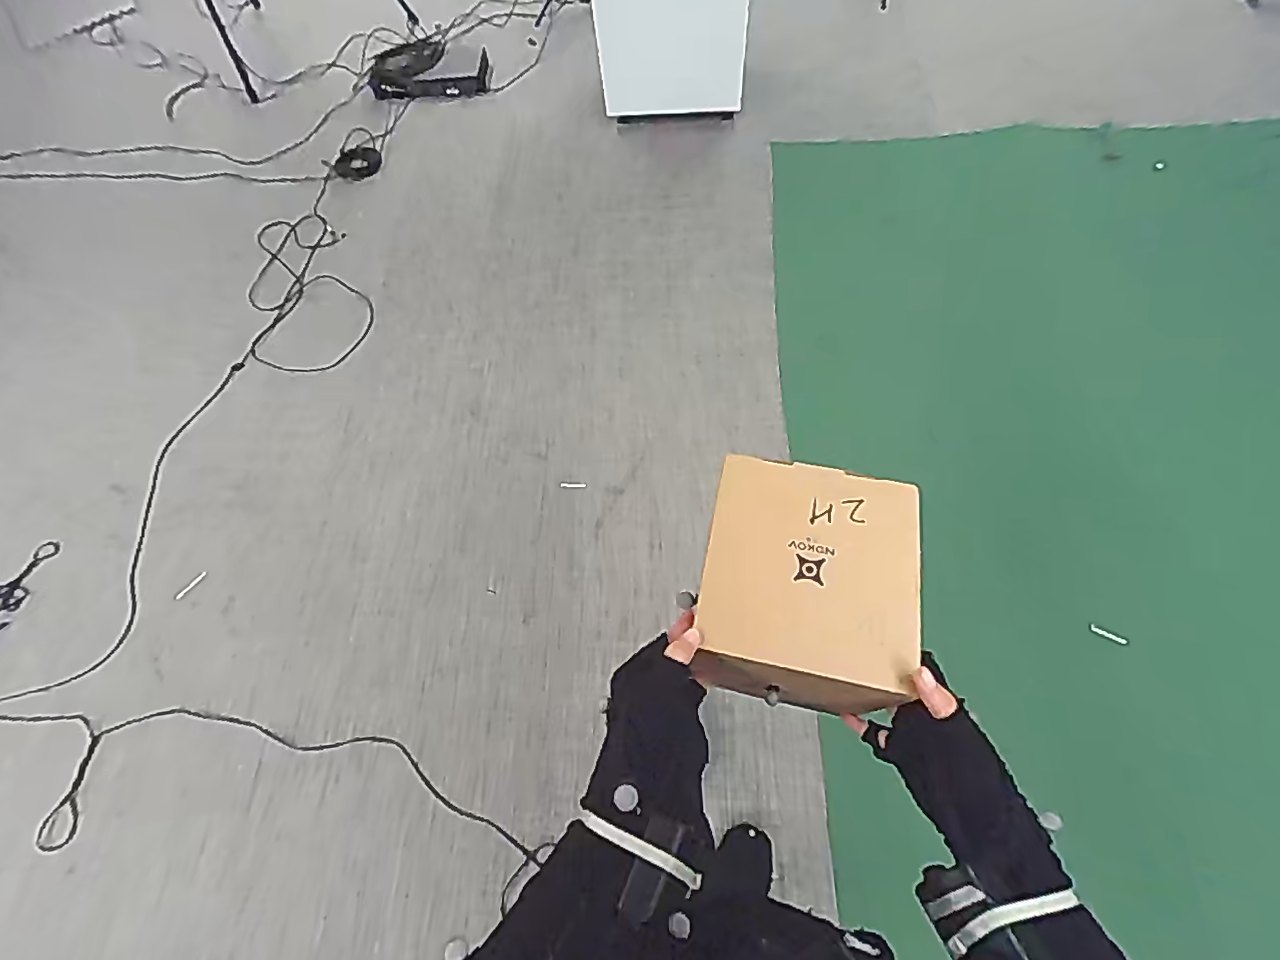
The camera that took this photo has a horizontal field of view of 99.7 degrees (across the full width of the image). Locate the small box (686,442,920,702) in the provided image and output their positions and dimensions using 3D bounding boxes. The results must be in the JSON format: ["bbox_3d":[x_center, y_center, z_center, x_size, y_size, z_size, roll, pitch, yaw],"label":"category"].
[{"bbox_3d":[0.139,0.092,0.498,0.168,0.176,0.179,11,63,8],"label":"small box"}]
